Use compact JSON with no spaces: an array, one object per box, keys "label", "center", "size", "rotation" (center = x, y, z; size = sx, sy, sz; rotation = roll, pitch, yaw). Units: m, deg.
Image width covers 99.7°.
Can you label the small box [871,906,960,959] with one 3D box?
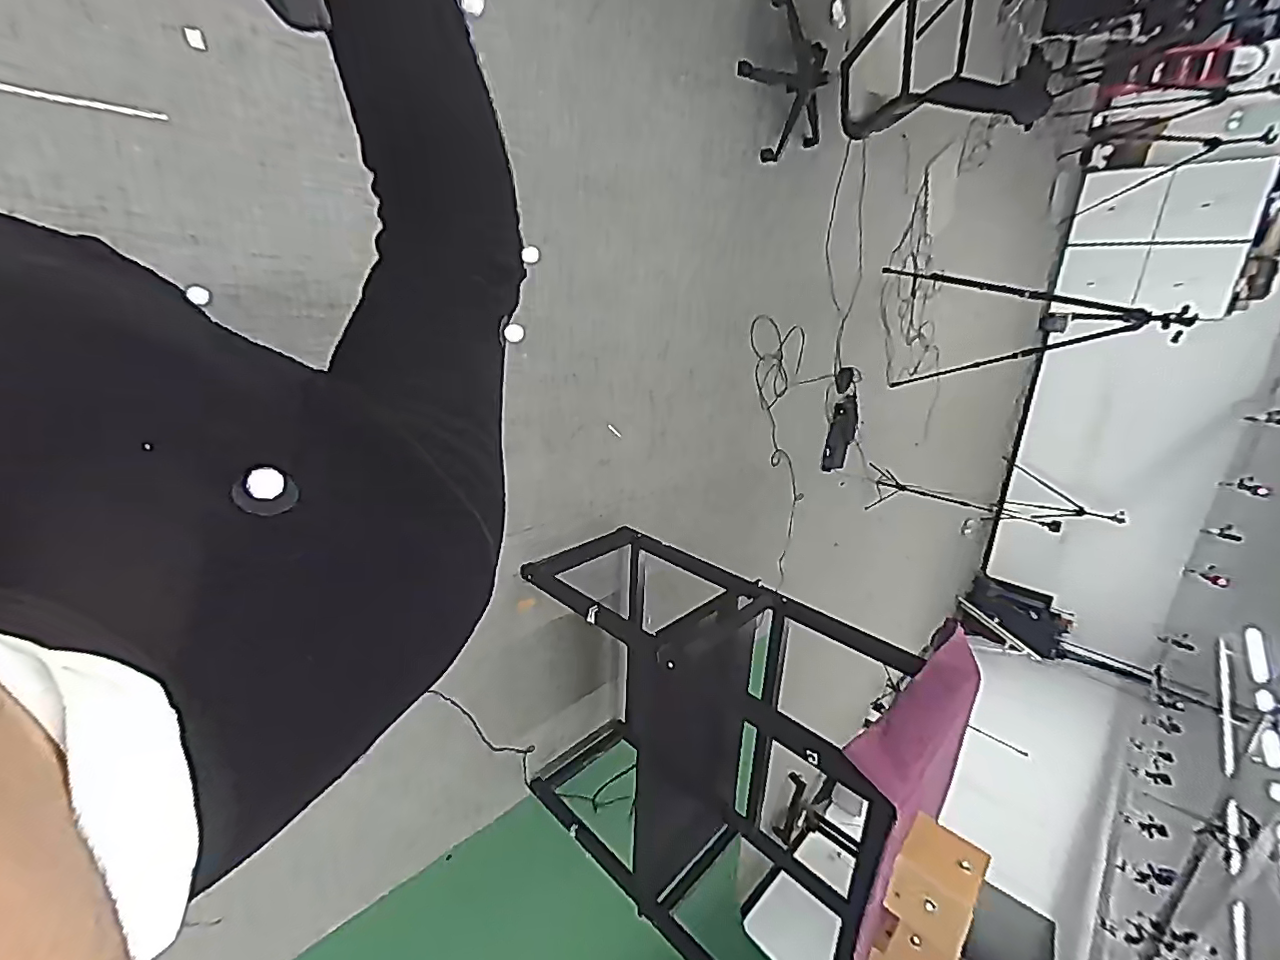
[{"label":"small box","center":[0.700,1.244,1.388],"size":[0.168,0.176,0.179],"rotation":[-16,116,-43]}]

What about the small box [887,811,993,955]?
[{"label":"small box","center":[0.712,0.950,1.292],"size":[0.179,0.176,0.168],"rotation":[-18,117,-44]}]
